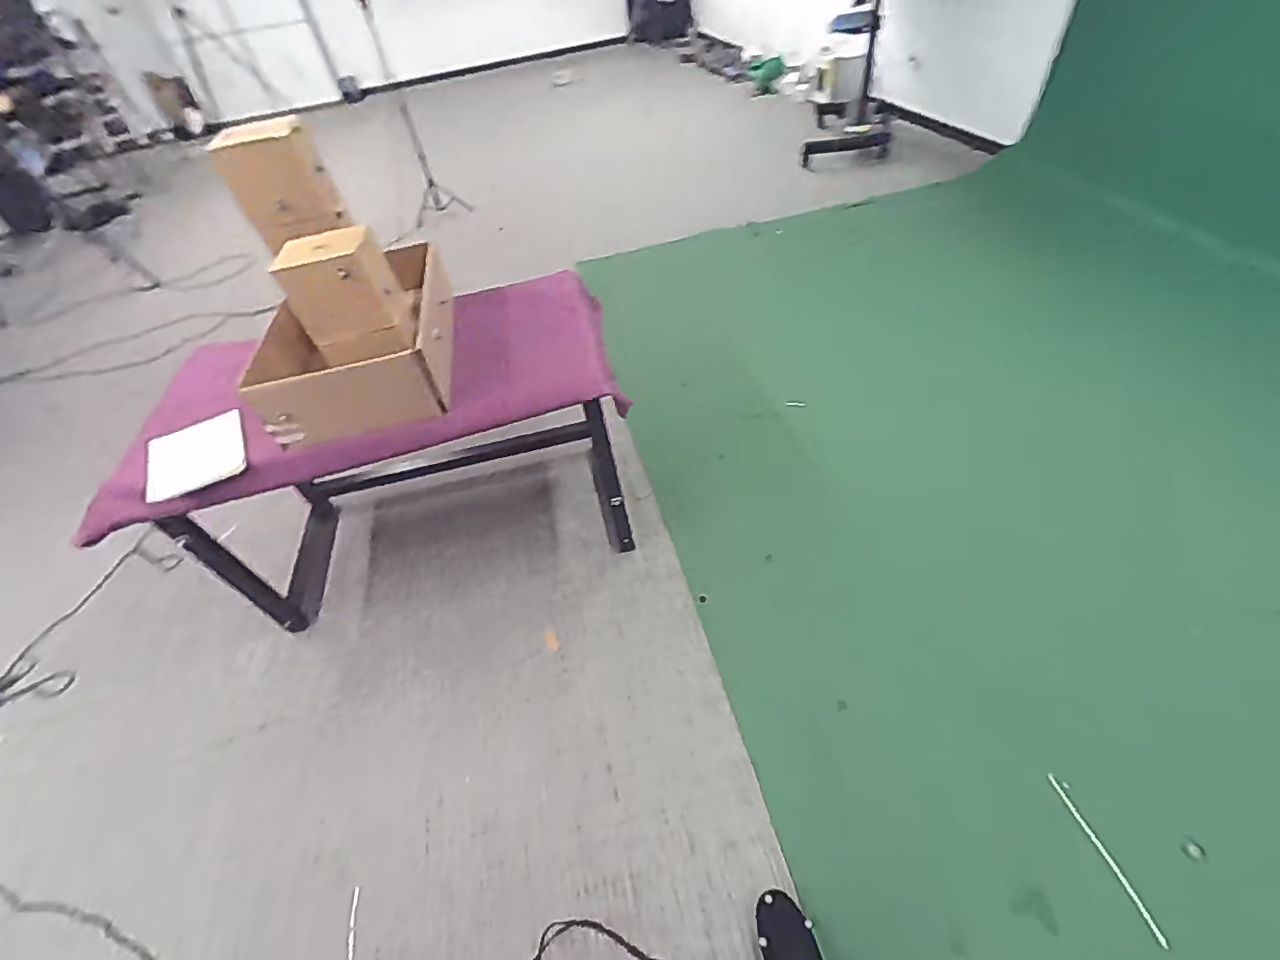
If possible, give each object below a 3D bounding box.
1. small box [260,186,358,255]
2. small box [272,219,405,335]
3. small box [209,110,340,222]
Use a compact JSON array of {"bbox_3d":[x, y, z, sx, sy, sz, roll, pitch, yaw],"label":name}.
[{"bbox_3d":[-0.801,-0.607,1.359,0.179,0.176,0.168,-15,48,-5],"label":"small box"},{"bbox_3d":[-0.637,-0.434,1.167,0.179,0.176,0.168,-13,46,-3],"label":"small box"},{"bbox_3d":[-0.822,-0.718,1.240,0.179,0.176,0.168,-13,47,-4],"label":"small box"}]
